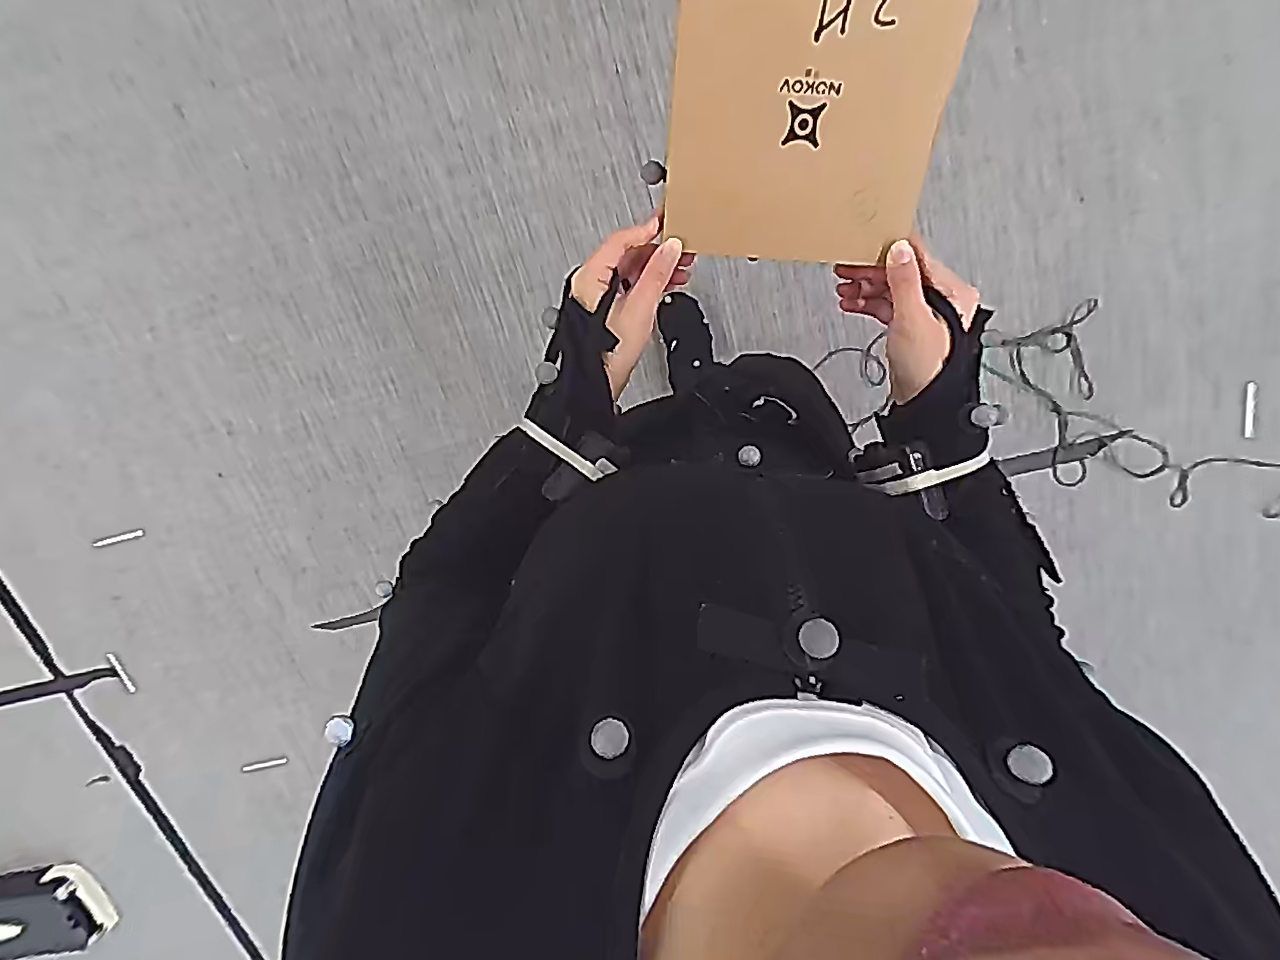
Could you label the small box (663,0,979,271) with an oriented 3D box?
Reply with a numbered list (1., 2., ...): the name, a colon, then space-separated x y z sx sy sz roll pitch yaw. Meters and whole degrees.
1. small box: 0.108 -0.268 0.400 0.168 0.176 0.179 4 122 0
